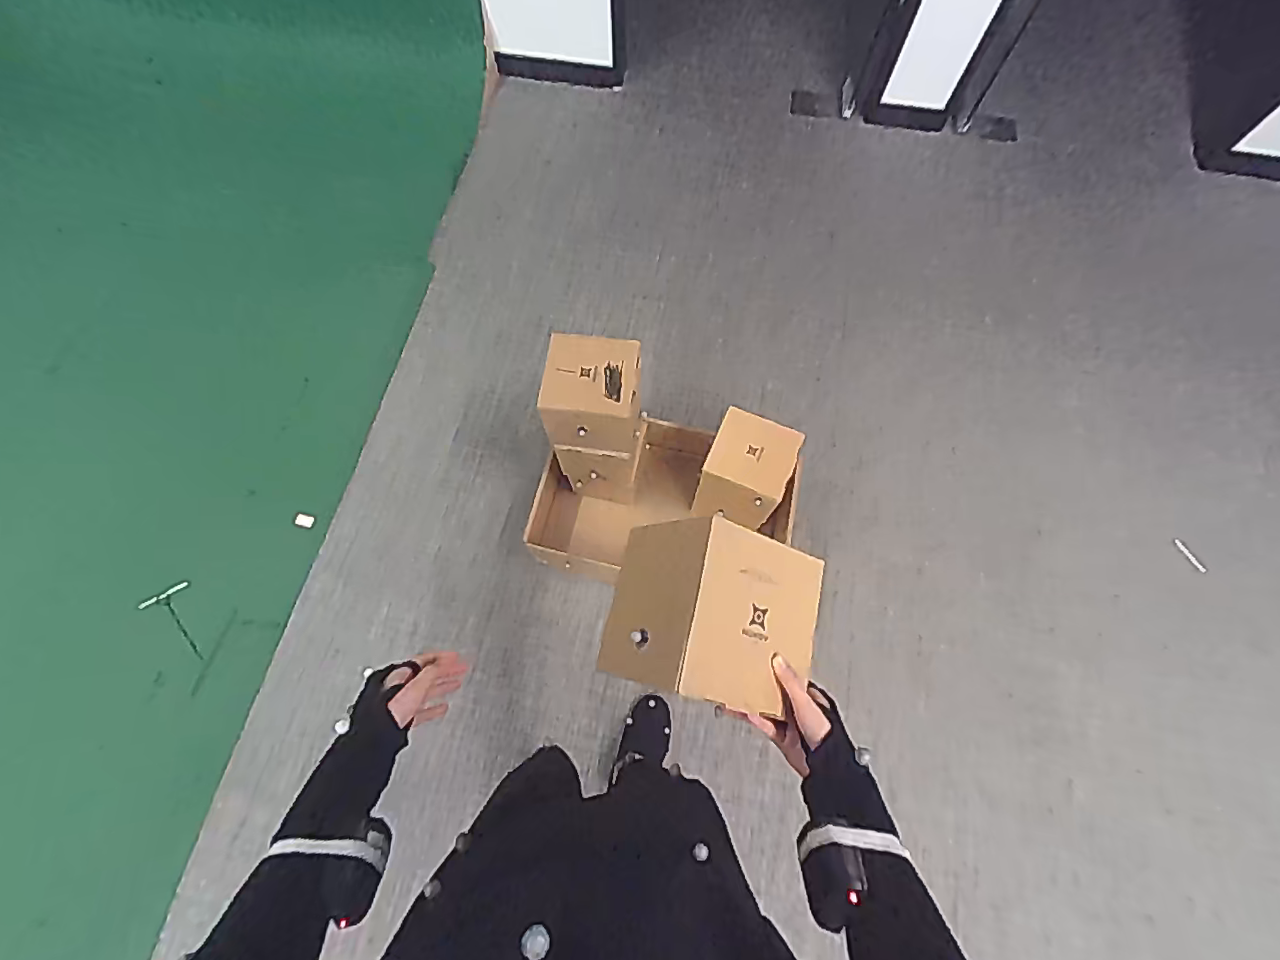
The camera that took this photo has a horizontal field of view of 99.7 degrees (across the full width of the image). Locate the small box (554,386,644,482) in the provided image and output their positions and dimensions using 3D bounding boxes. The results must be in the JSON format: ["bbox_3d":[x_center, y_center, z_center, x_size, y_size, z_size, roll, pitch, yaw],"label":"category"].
[{"bbox_3d":[-0.087,-0.113,1.237,0.168,0.176,0.179,10,71,5],"label":"small box"}]

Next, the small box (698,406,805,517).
[{"bbox_3d":[0.240,-0.033,1.210,0.179,0.176,0.168,23,73,8],"label":"small box"}]

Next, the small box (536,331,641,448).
[{"bbox_3d":[-0.093,-0.174,1.084,0.179,0.176,0.168,7,70,4],"label":"small box"}]
